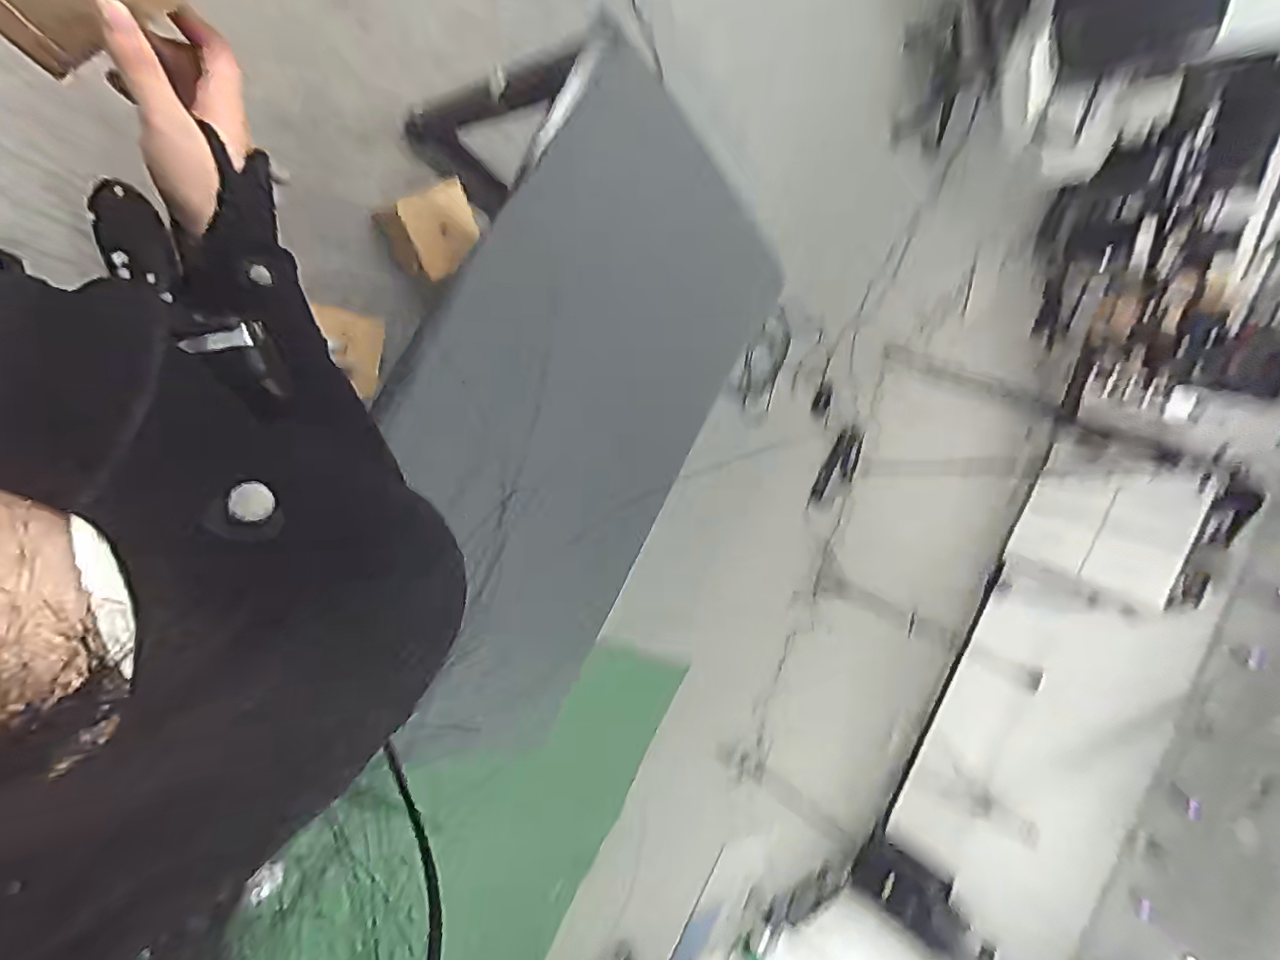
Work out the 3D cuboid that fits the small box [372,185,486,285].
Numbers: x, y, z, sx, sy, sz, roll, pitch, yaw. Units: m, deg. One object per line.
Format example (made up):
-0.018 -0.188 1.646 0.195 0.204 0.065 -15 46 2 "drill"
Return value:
-0.513 -0.591 1.310 0.168 0.176 0.179 -40 132 -27 "small box"
